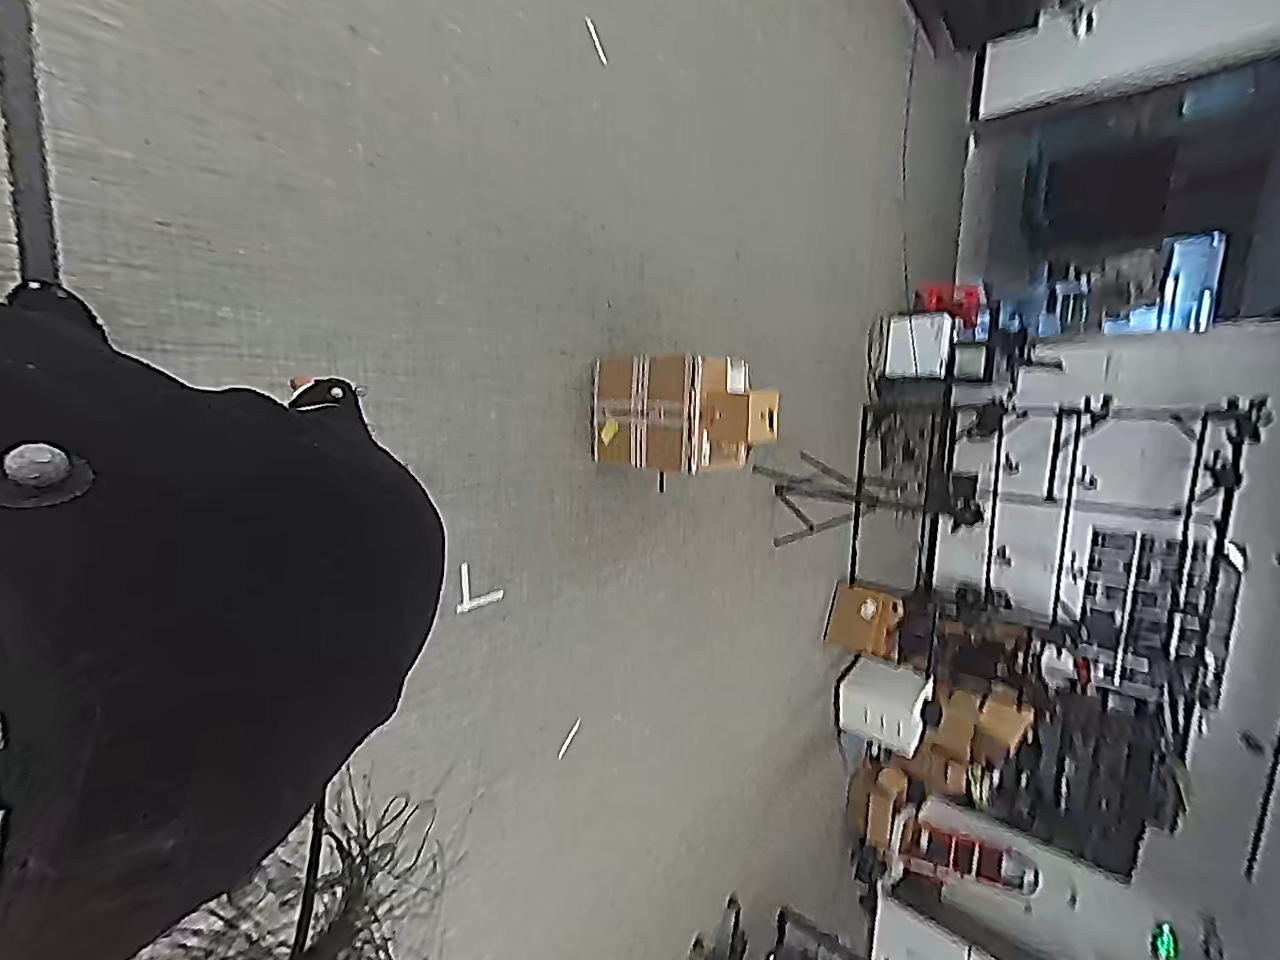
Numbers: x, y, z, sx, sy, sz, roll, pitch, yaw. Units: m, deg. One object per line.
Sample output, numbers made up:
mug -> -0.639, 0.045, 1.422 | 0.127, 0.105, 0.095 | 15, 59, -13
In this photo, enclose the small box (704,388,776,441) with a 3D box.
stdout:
small box -> 0.335, -0.221, 1.809 | 0.179, 0.176, 0.168 | -8, 102, -44
